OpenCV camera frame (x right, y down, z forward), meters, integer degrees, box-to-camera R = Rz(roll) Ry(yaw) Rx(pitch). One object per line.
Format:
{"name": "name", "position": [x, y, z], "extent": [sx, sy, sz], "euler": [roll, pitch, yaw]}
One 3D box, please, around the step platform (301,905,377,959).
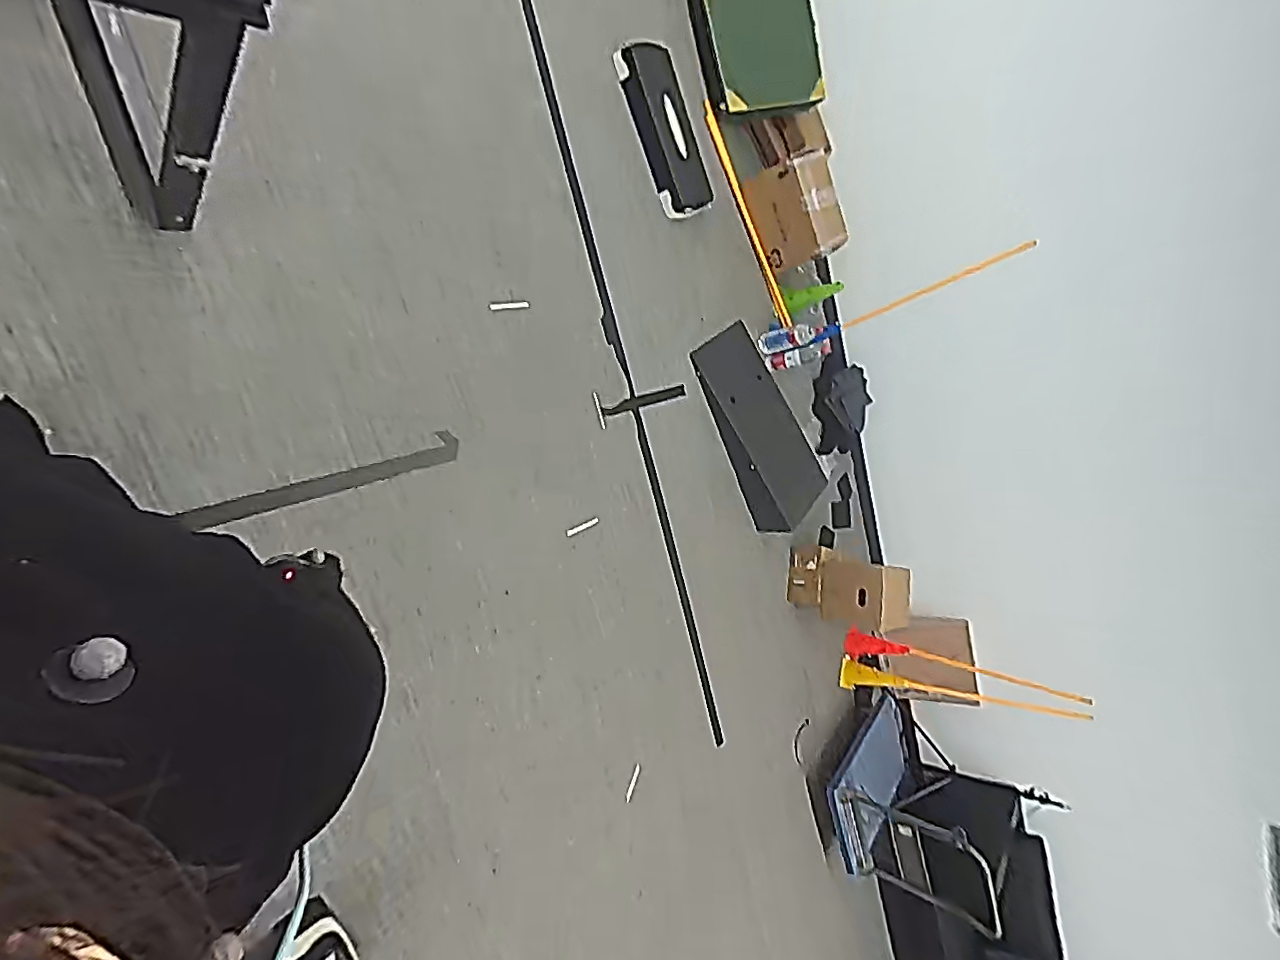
{"name": "step platform", "position": [-0.865, 1.224, 1.056], "extent": [0.684, 0.204, 0.286], "euler": [-16, 97, -46]}
